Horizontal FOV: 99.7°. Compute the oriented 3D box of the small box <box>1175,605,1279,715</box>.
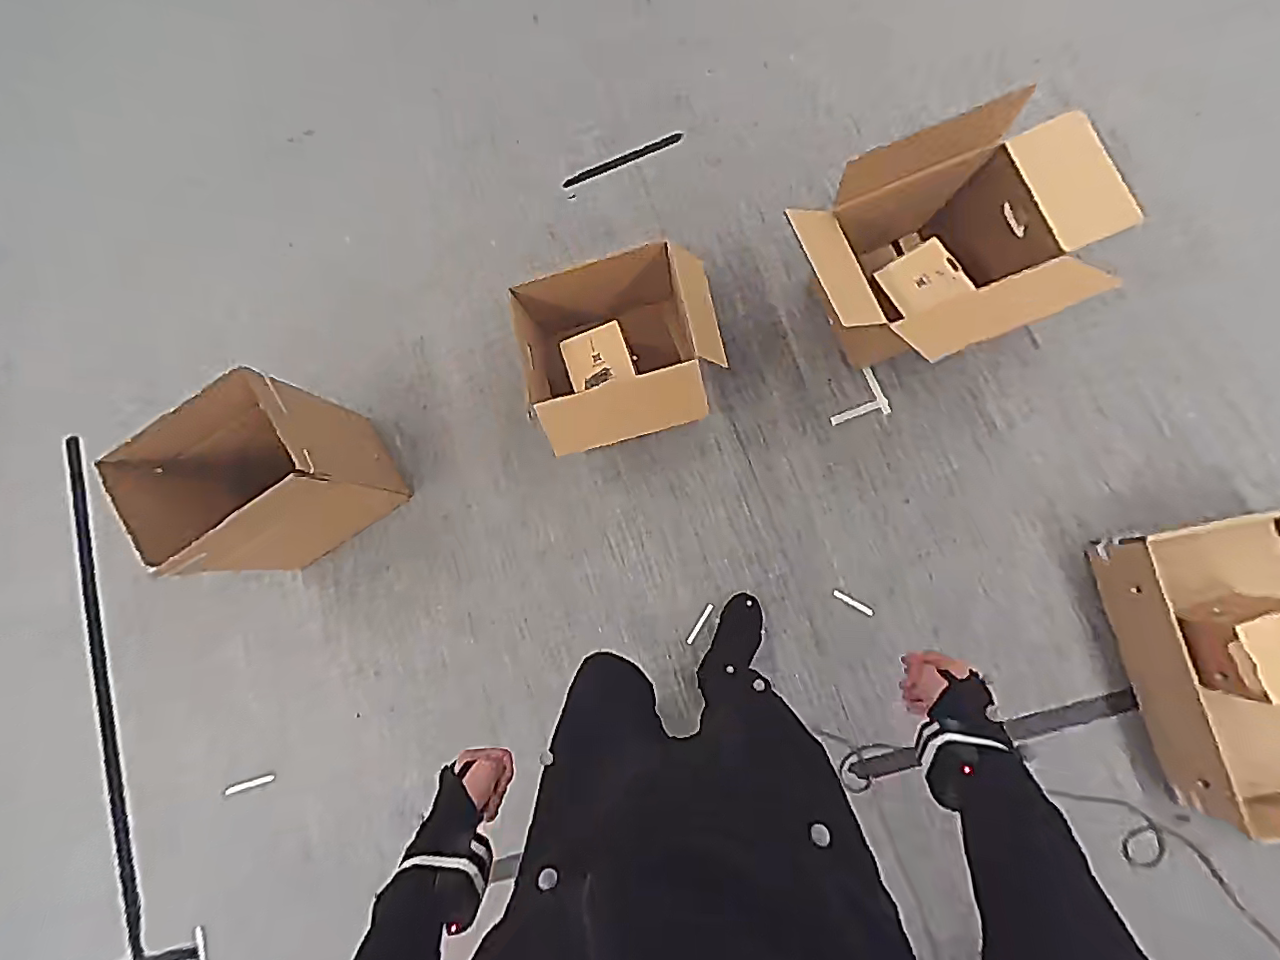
[{"bbox_3d":[1.301,0.371,1.142,0.179,0.176,0.168,-18,81,5],"label":"small box"}]
